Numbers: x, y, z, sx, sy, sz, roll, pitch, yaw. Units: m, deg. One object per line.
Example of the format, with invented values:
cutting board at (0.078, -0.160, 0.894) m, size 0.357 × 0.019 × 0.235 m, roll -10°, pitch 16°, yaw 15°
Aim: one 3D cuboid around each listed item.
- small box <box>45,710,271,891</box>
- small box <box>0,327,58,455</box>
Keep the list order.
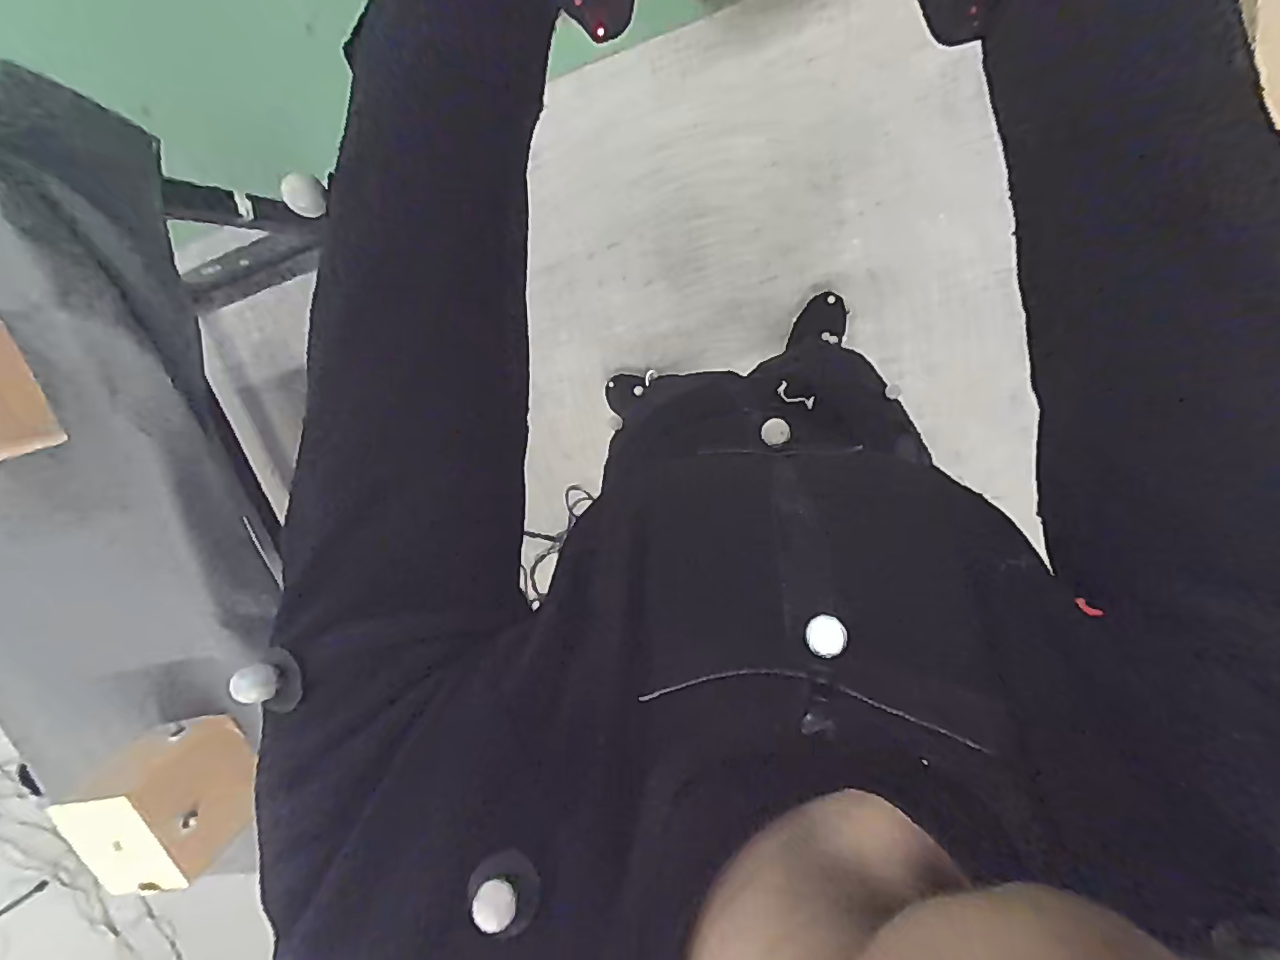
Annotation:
small box at (-0.733, 0.494, 0.846) m, size 0.168 × 0.176 × 0.179 m, roll -15°, pitch 104°, yaw 13°
small box at (-0.908, -0.099, 0.673) m, size 0.168 × 0.176 × 0.179 m, roll -11°, pitch 106°, yaw 14°
